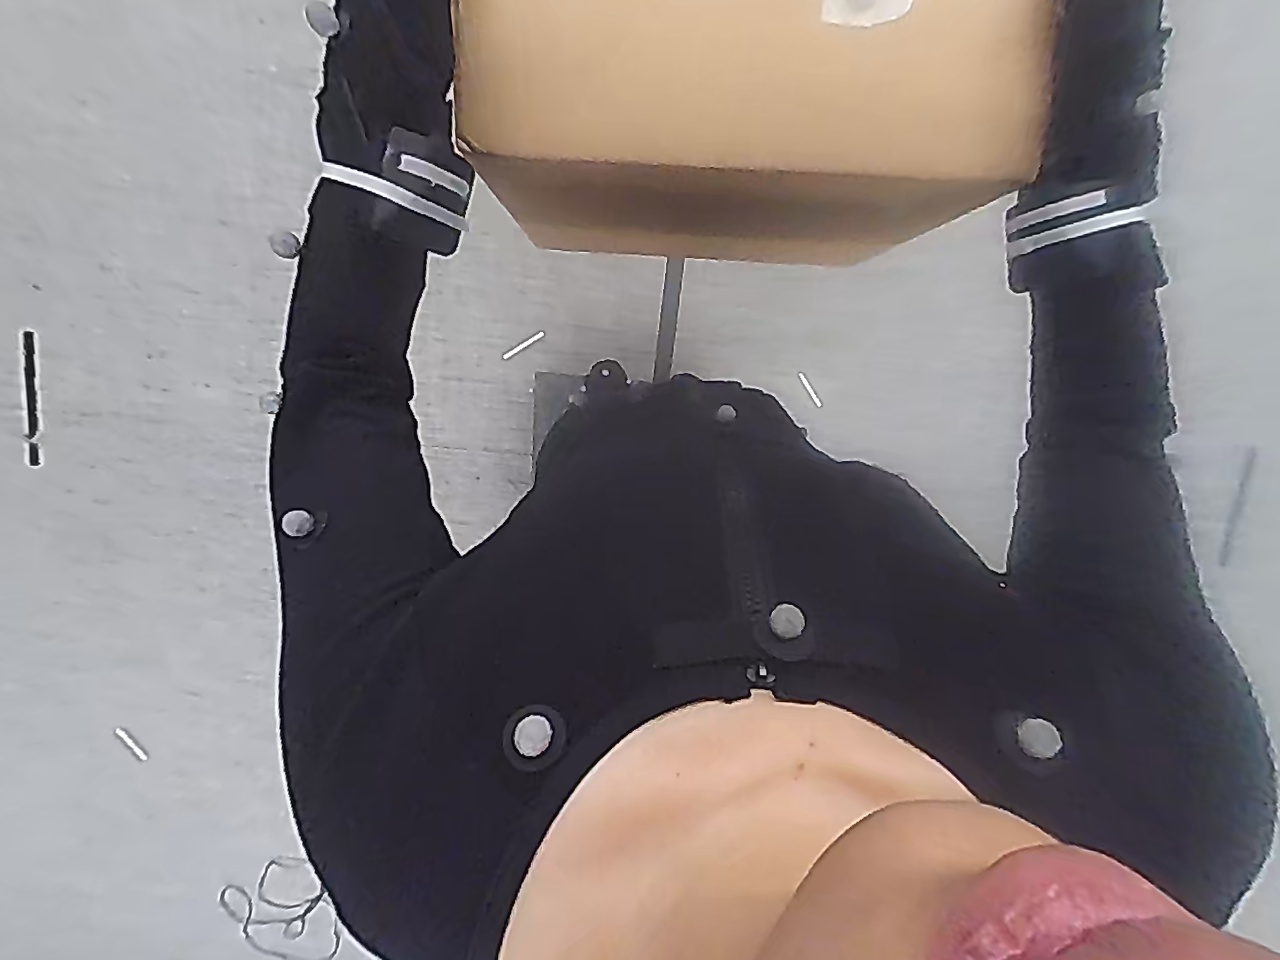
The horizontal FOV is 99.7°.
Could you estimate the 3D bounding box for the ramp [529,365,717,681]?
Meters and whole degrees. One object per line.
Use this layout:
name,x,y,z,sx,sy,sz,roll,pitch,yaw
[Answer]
ramp,-0.076,0.179,1.607,0.509,0.206,0.991,3,100,-2

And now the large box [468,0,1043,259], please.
large box,0.077,-0.405,0.507,0.408,0.320,0.320,2,102,-2
